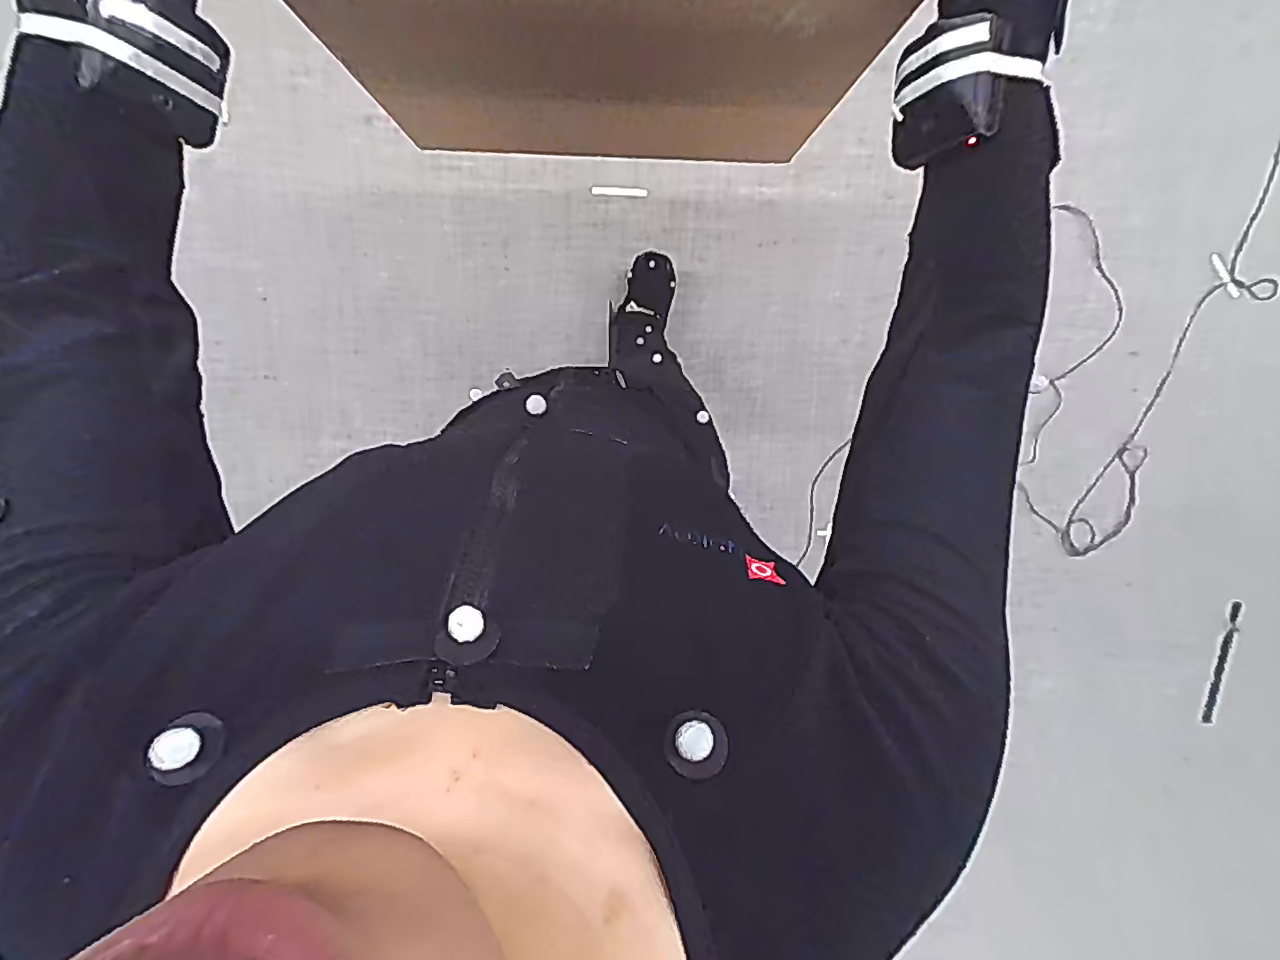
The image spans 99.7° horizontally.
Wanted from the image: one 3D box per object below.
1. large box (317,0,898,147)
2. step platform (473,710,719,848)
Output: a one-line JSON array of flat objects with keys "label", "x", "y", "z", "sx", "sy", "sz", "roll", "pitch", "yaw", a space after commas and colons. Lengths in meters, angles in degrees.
[{"label": "large box", "x": -0.026, "y": -0.483, "z": 0.414, "sx": 0.408, "sy": 0.320, "sz": 0.320, "roll": 0, "pitch": 103, "yaw": -3}, {"label": "step platform", "x": -0.118, "y": 0.846, "z": 1.534, "sx": 0.684, "sy": 0.204, "sz": 0.286, "roll": -2, "pitch": 101, "yaw": -1}]
